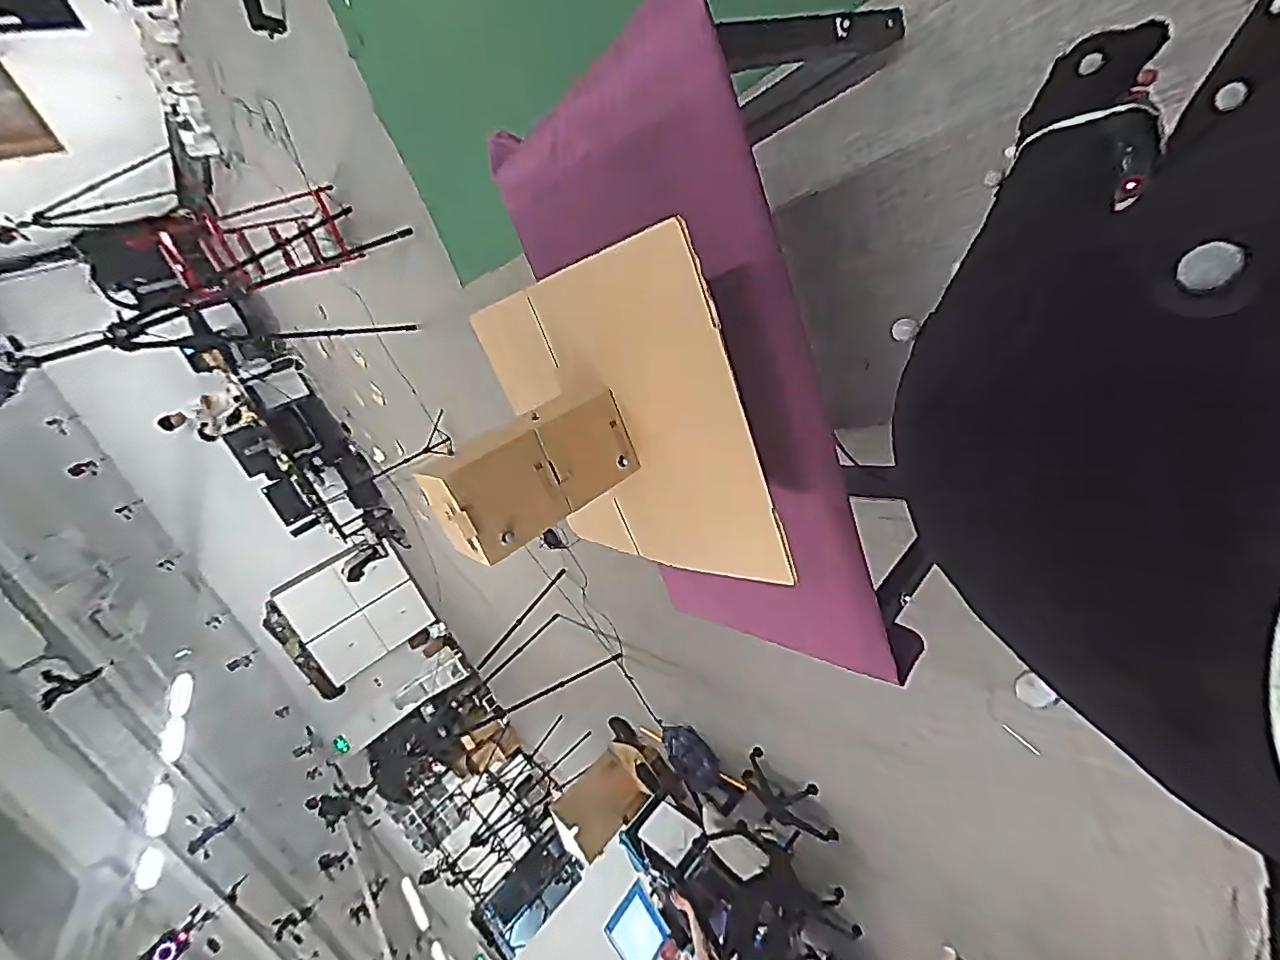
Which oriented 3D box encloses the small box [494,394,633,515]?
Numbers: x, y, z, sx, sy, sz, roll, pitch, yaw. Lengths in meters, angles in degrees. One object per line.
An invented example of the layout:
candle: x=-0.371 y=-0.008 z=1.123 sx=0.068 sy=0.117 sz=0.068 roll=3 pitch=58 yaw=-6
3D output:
small box: x=-0.135 y=-0.051 z=1.015 sx=0.179 sy=0.176 sz=0.168 roll=1 pitch=120 yaw=52
